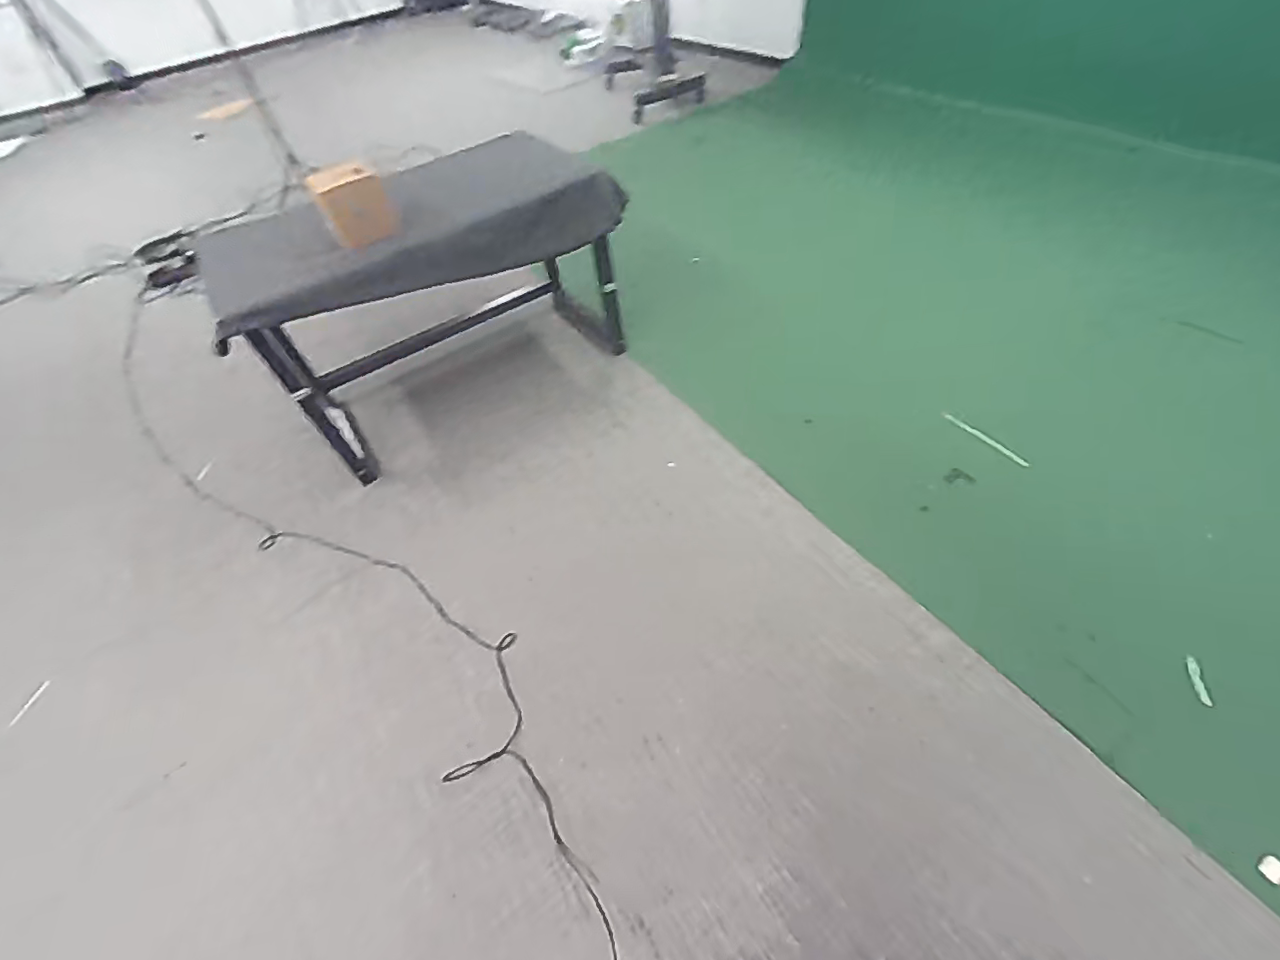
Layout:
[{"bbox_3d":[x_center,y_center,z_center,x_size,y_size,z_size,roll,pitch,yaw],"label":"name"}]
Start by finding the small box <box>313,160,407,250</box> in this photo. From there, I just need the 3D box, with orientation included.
[{"bbox_3d":[-0.819,-0.815,1.603,0.179,0.176,0.168,-35,54,-21],"label":"small box"}]
